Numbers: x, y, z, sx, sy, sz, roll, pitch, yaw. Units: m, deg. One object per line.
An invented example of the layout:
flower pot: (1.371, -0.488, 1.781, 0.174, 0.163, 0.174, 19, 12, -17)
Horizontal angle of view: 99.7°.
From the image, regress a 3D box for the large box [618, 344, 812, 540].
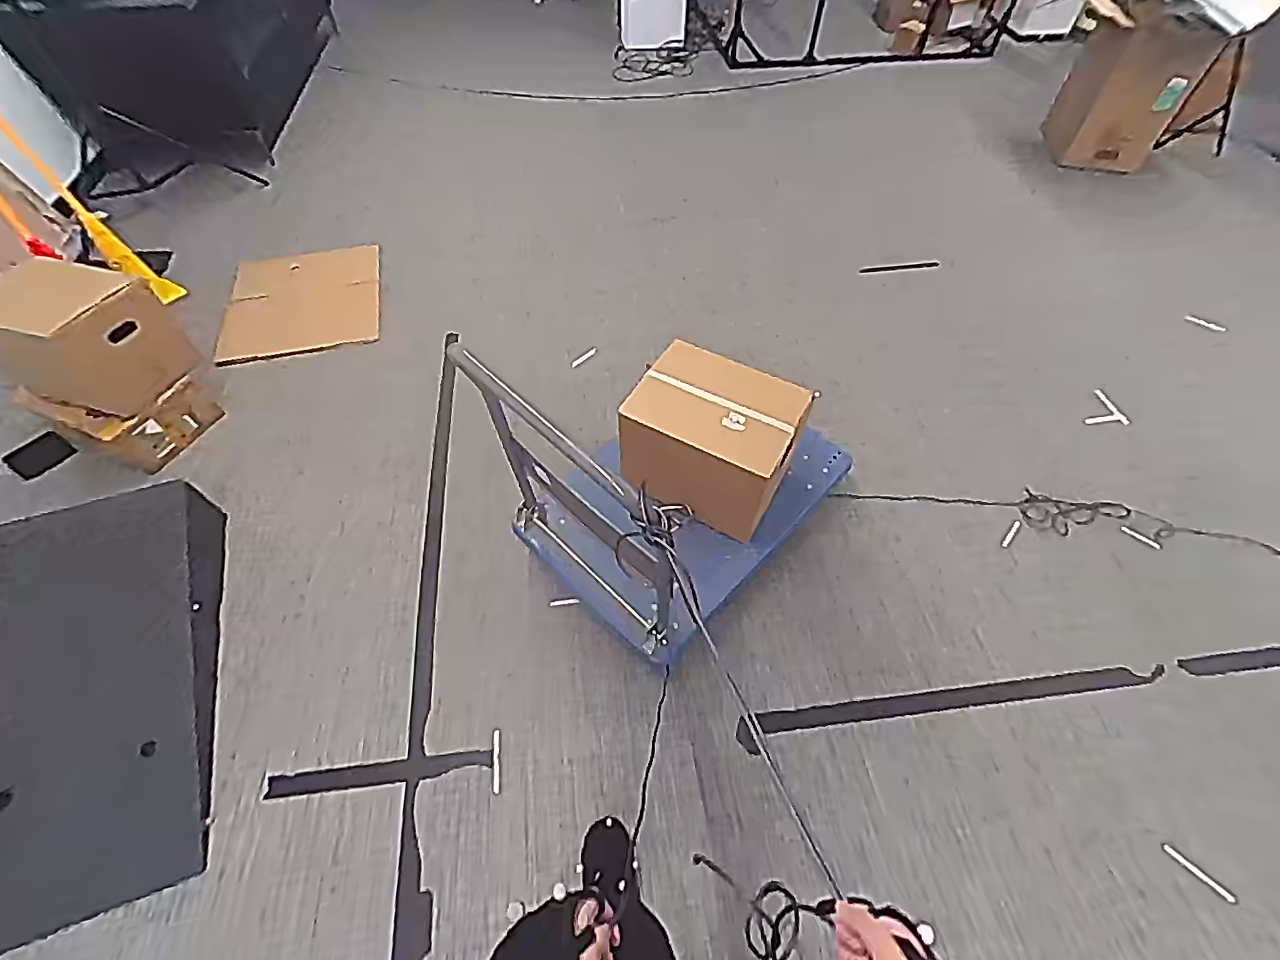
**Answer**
large box: (0.186, -0.102, 1.464, 0.408, 0.320, 0.320, 26, 59, 16)
